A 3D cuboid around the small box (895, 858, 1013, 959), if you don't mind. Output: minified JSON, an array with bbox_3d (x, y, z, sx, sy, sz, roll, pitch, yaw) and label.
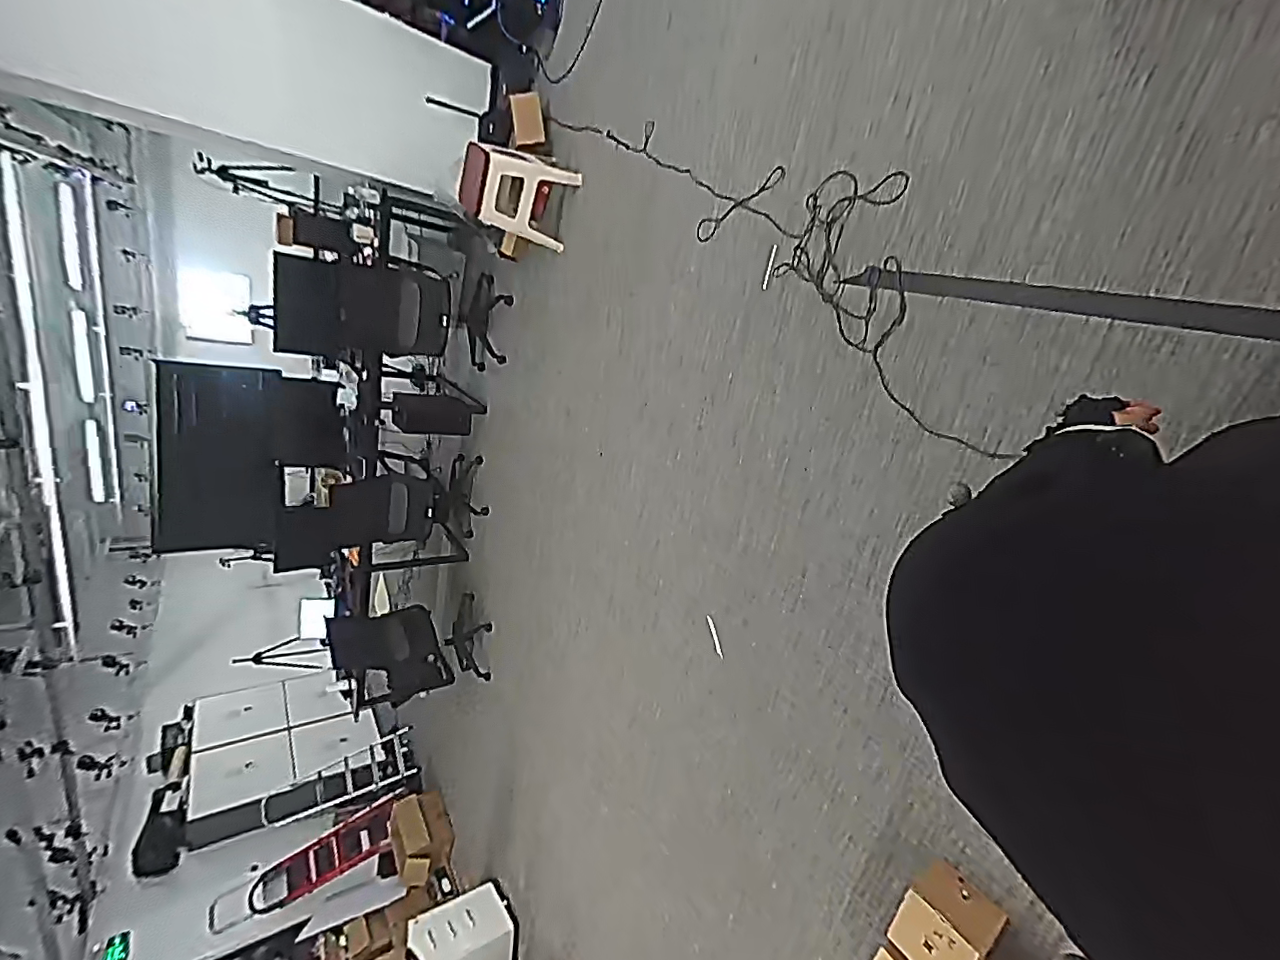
[{"bbox_3d":[0.762,1.075,1.309,0.168,0.176,0.179,32,116,48],"label":"small box"}]
